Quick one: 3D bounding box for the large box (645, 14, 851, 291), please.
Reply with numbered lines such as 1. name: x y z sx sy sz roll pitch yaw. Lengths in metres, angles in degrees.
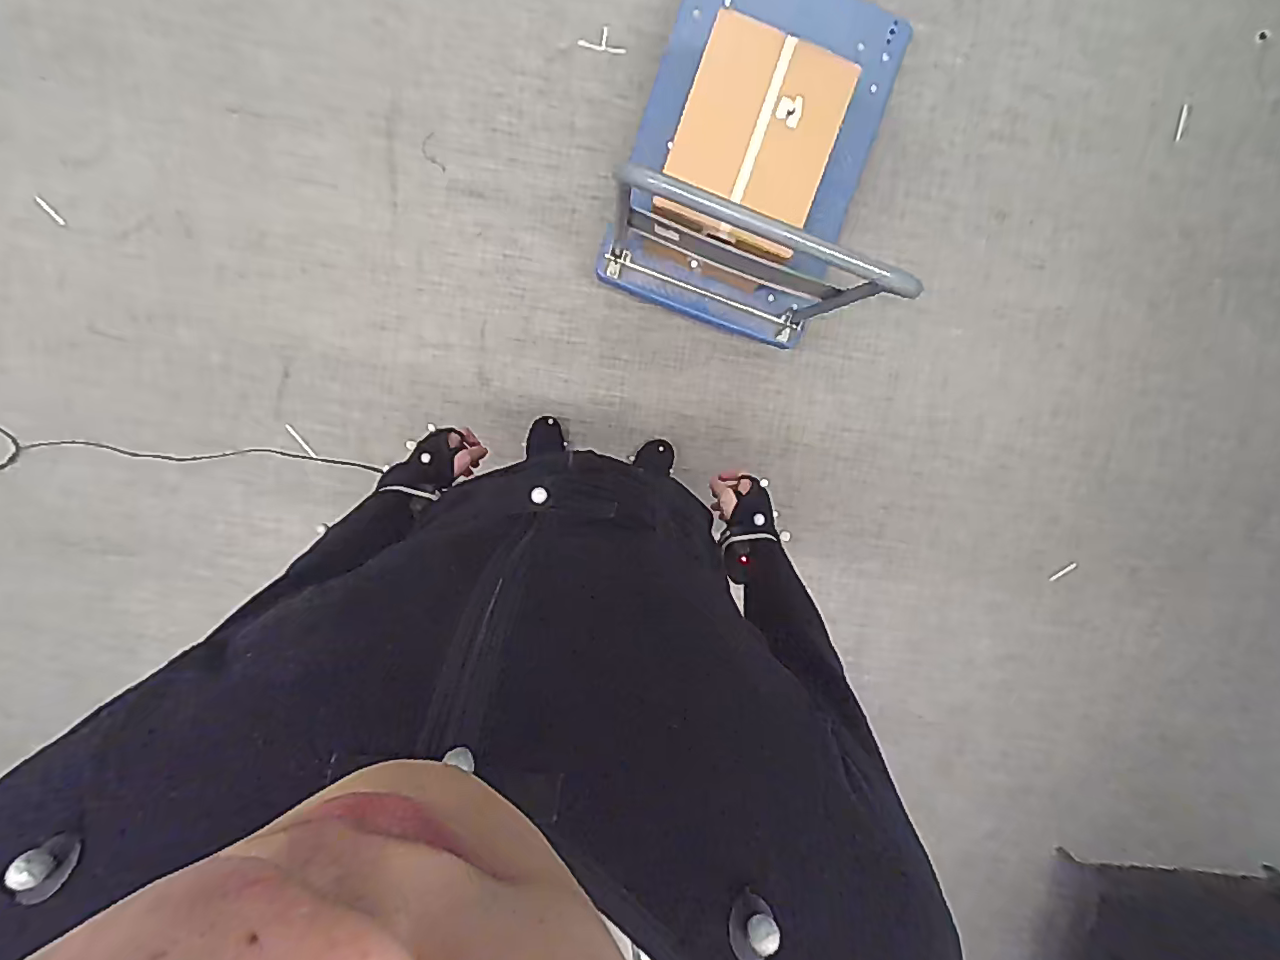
1. large box: 0.220 -0.713 1.254 0.320 0.320 0.408 19 94 -6
